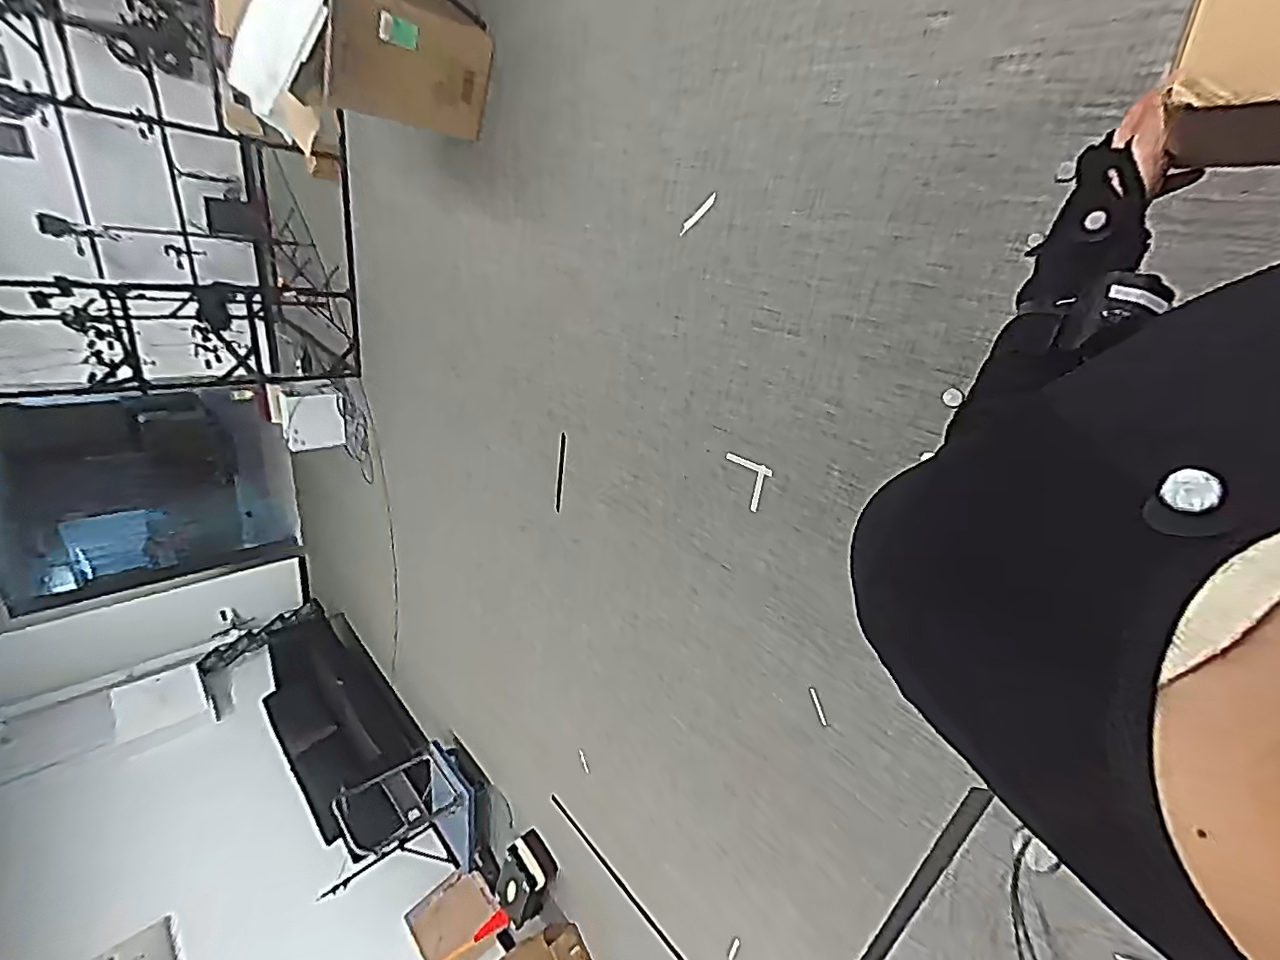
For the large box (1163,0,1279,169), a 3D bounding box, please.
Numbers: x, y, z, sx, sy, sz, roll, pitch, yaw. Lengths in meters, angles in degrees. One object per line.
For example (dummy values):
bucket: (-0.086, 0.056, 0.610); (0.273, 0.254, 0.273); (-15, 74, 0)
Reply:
large box: (0.465, -0.291, 0.150); (0.408, 0.320, 0.320); (20, 122, 37)
